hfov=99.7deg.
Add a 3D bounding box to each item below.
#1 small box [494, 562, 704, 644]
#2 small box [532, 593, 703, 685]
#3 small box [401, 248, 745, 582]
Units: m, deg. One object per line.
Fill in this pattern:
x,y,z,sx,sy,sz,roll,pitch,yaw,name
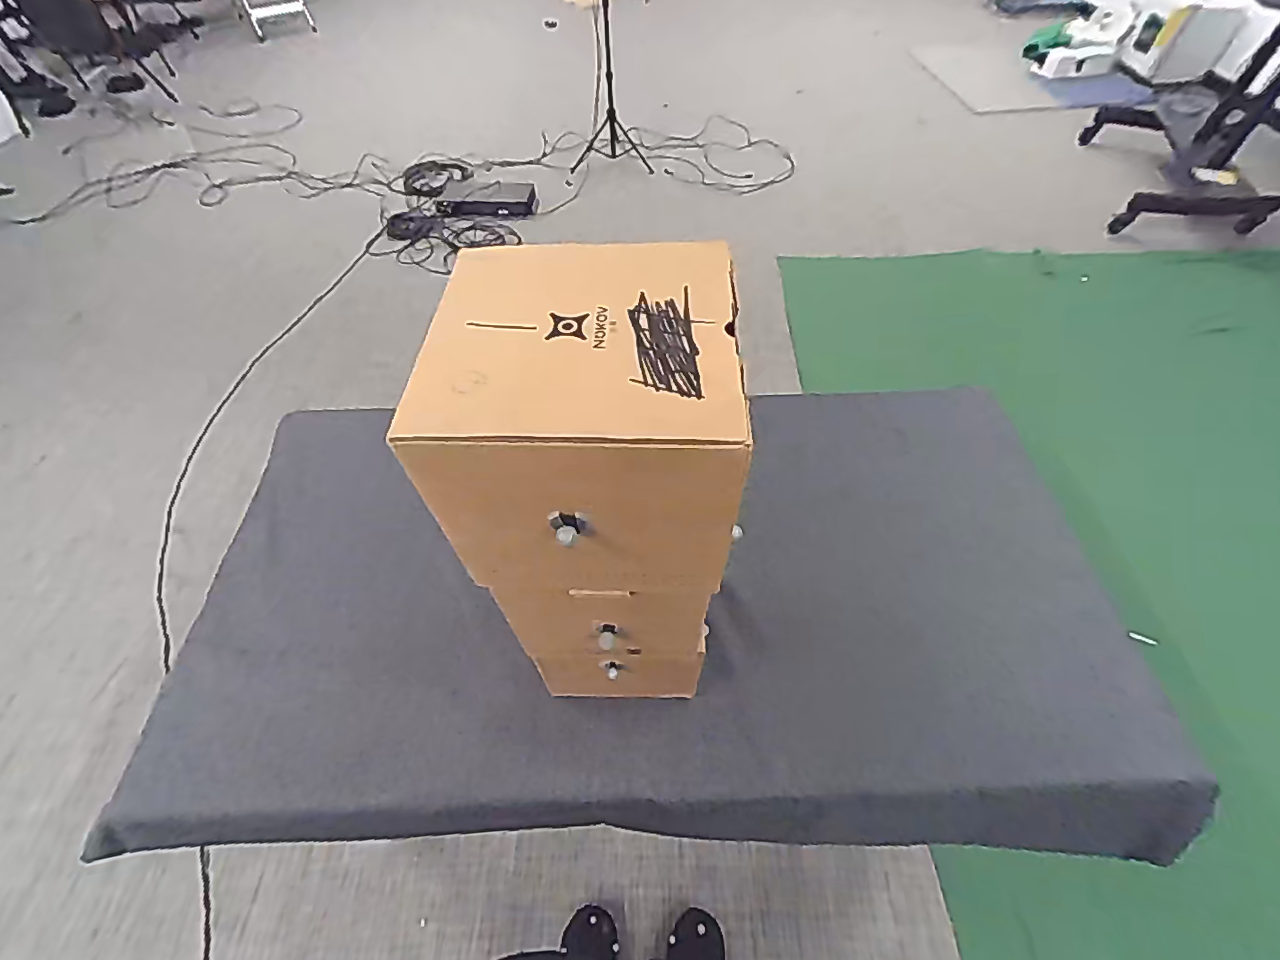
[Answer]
-0.027,0.050,0.520,0.168,0.176,0.179,0,55,1,small box
-0.021,0.143,0.654,0.179,0.176,0.168,0,55,0,small box
-0.030,-0.038,0.379,0.179,0.176,0.168,1,54,3,small box
